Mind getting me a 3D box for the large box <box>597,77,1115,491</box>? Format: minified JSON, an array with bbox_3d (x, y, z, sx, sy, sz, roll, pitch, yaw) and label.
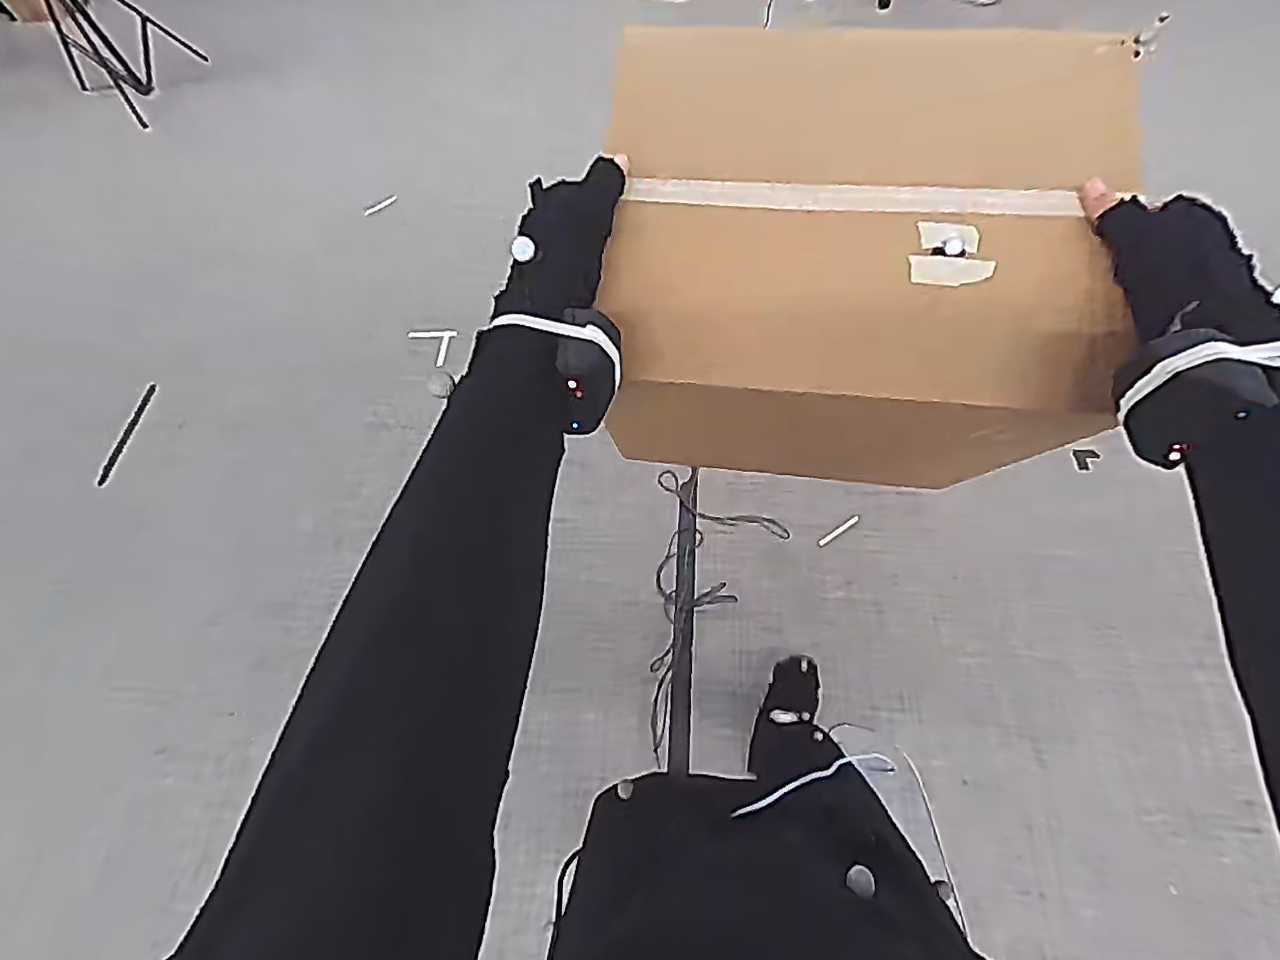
[{"bbox_3d":[0.182,-0.175,0.593,0.408,0.320,0.320,5,81,5],"label":"large box"}]
